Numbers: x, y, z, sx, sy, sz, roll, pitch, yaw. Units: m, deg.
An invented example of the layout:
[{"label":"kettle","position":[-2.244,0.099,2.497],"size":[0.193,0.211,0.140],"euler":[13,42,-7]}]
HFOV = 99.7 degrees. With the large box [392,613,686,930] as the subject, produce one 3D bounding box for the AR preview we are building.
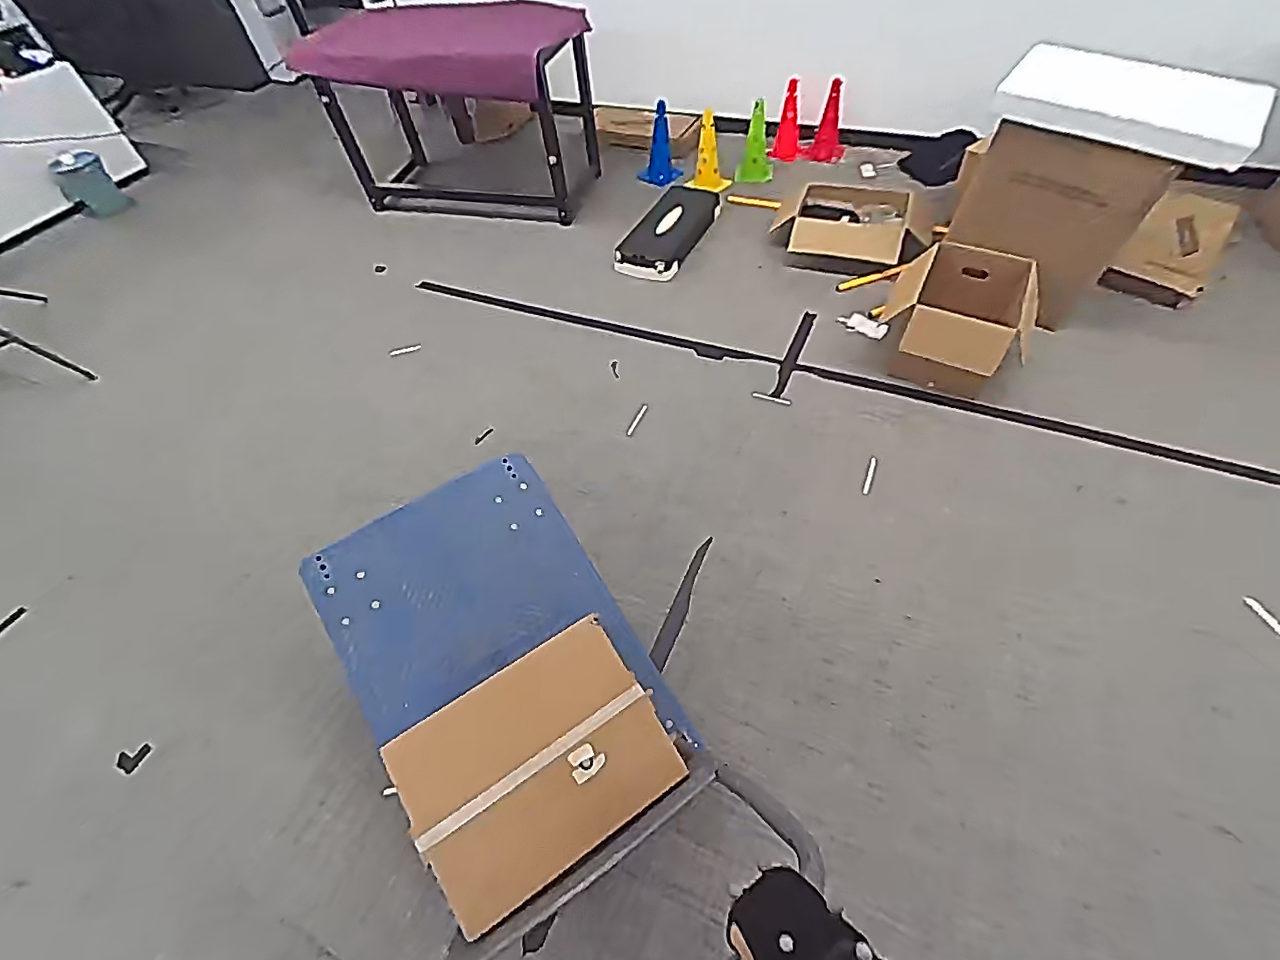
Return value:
[{"label":"large box","position":[-0.181,0.519,1.041],"size":[0.408,0.320,0.320],"euler":[-30,75,-18]}]
